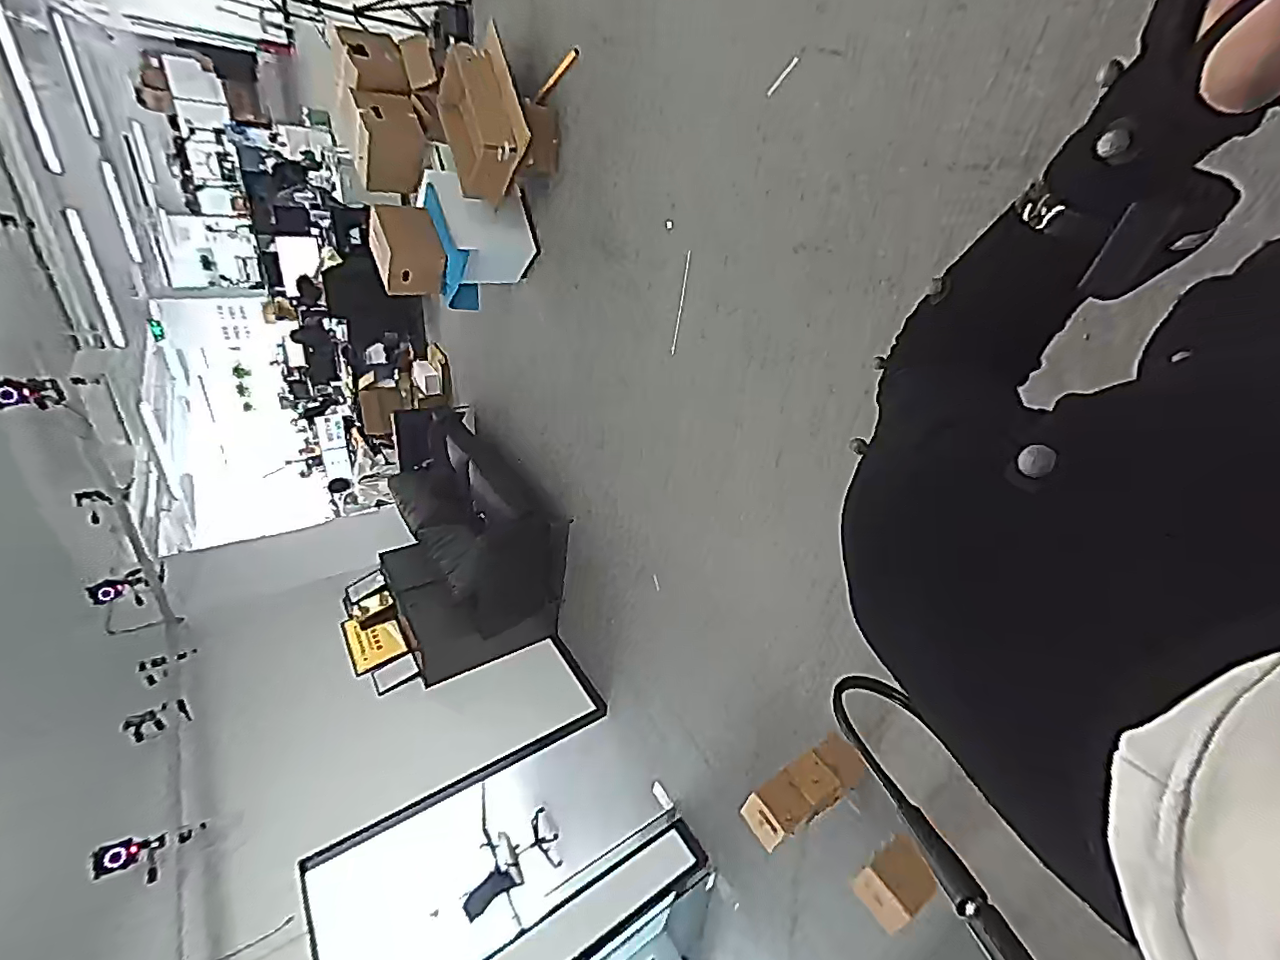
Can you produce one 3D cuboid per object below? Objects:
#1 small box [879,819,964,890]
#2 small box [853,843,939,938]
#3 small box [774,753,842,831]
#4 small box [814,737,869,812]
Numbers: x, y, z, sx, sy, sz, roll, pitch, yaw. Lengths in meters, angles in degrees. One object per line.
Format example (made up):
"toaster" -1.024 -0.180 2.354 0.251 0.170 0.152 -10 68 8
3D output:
"small box" 1.002 1.351 1.928 0.179 0.176 0.168 46 137 39
"small box" 0.871 1.388 1.835 0.179 0.176 0.168 47 137 38
"small box" 0.656 1.203 2.097 0.168 0.176 0.179 40 133 42
"small box" 0.789 1.187 2.189 0.179 0.176 0.168 45 136 40
